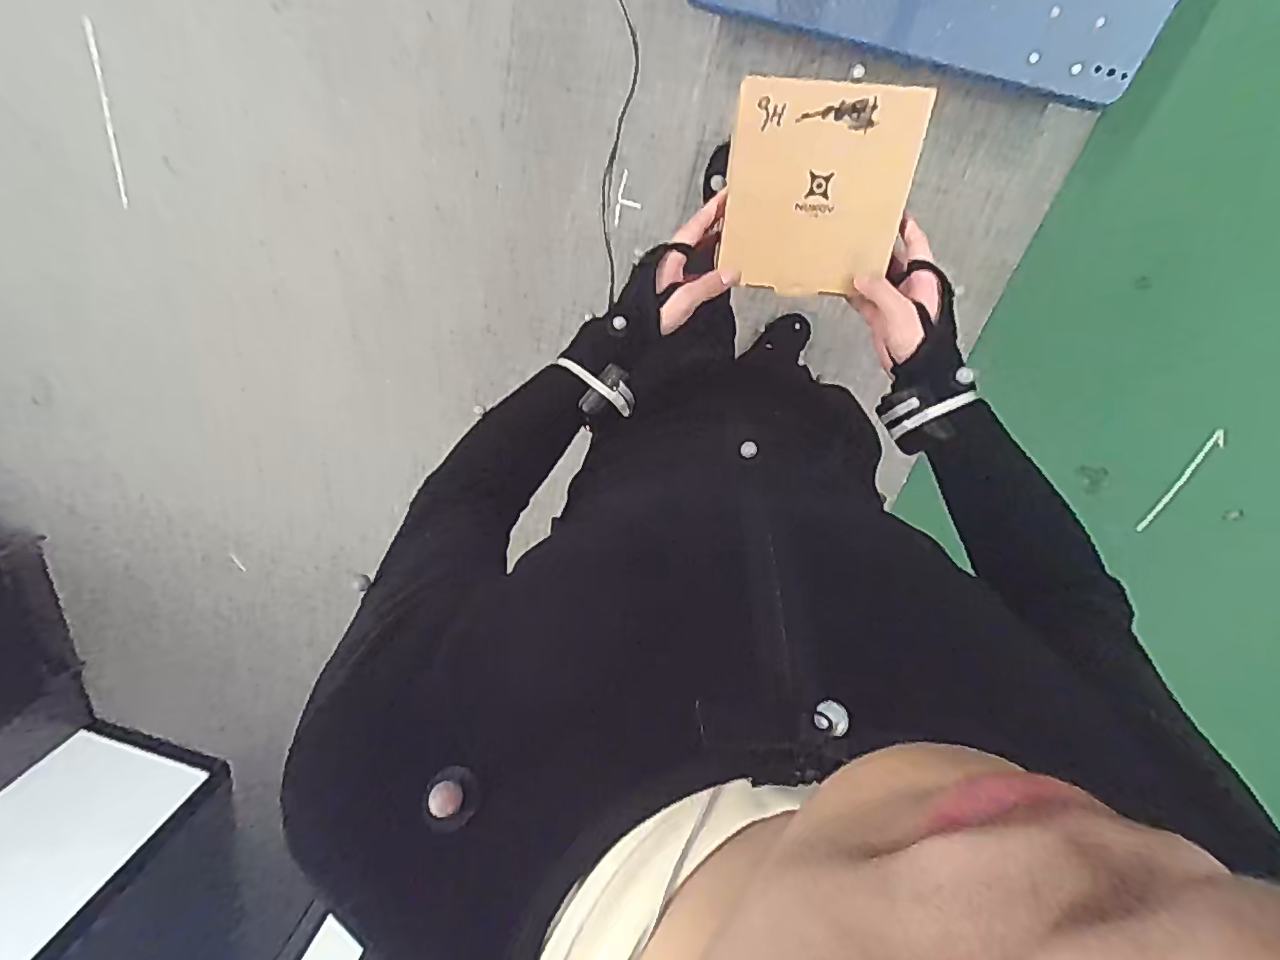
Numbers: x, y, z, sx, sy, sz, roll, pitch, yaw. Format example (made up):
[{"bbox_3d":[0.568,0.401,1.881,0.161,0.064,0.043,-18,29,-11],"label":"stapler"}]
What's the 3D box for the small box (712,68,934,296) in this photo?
[{"bbox_3d":[0.171,-0.311,0.571,0.168,0.176,0.179,7,122,3],"label":"small box"}]
